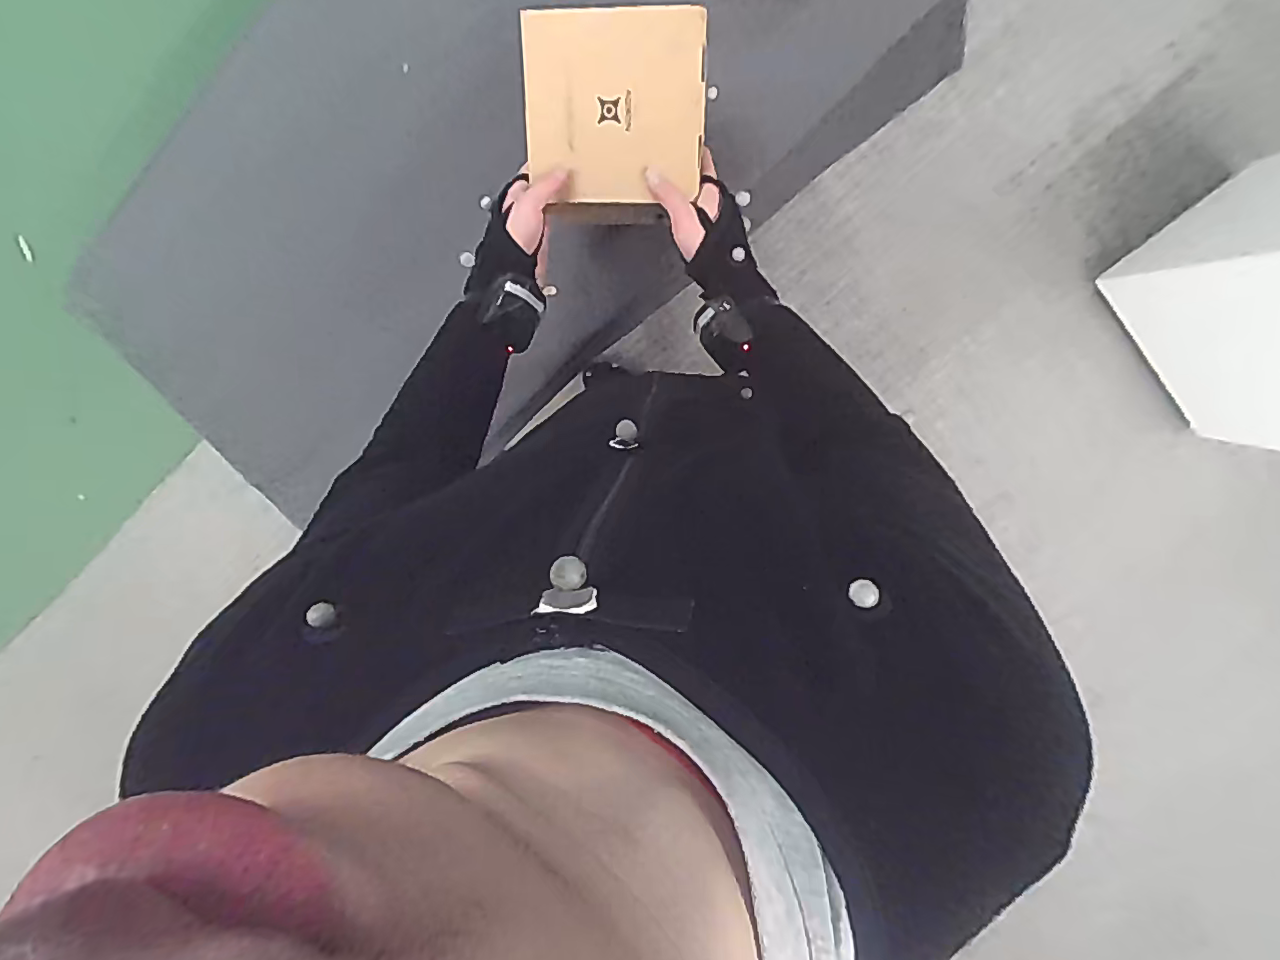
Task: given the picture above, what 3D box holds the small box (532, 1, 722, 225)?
[{"bbox_3d":[-0.009,-0.380,0.589,0.179,0.176,0.168,2,108,4],"label":"small box"}]
